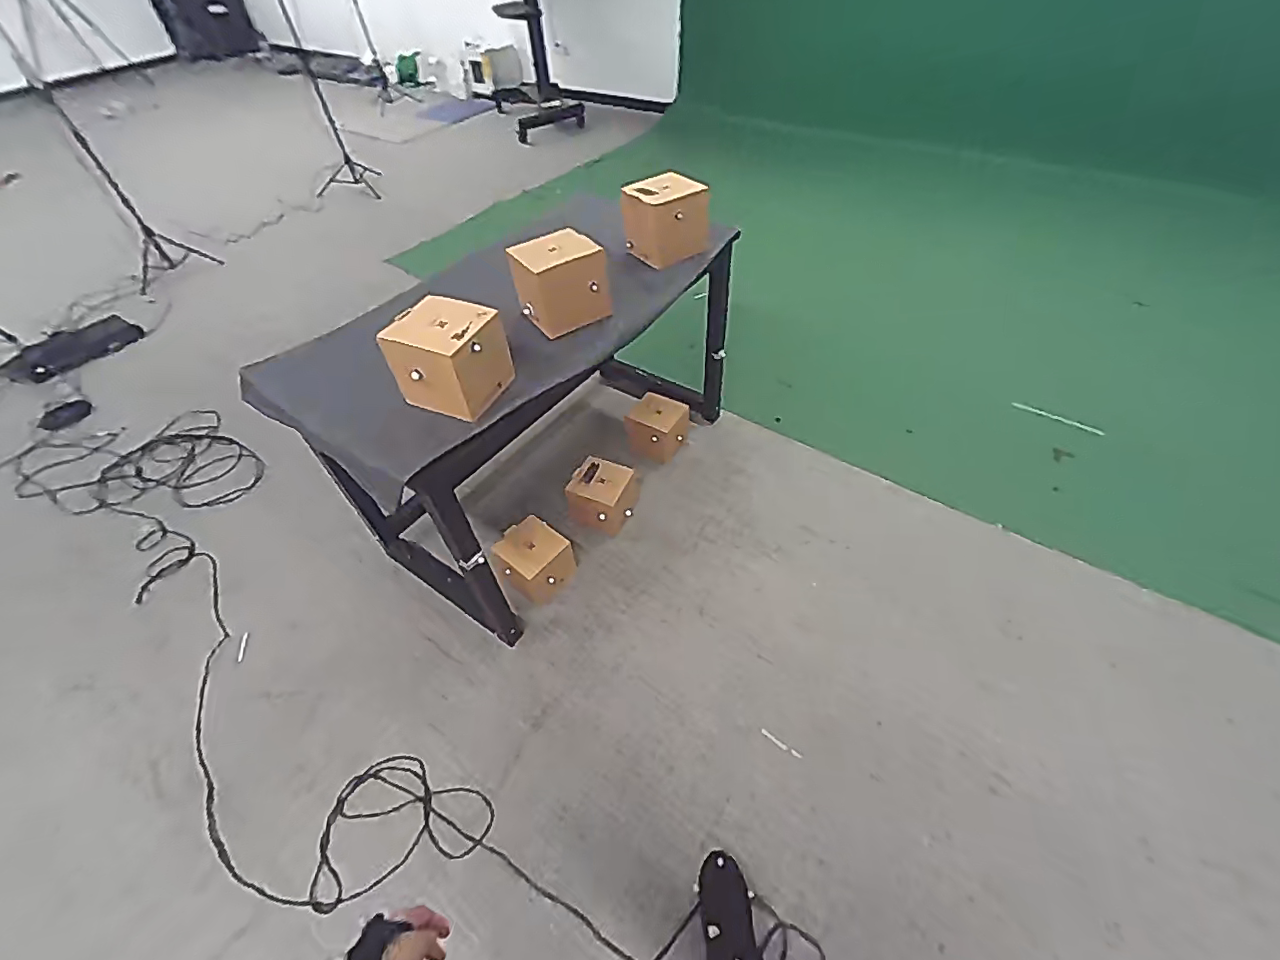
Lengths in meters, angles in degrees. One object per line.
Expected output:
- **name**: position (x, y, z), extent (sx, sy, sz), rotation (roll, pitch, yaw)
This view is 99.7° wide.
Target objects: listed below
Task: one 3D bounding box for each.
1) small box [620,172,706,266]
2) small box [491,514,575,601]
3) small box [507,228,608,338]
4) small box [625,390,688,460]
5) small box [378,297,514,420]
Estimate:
- **small box**: position (0.068, -0.709, 1.473), extent (0.179, 0.176, 0.168), rotation (-29, 51, -18)
- **small box**: position (-0.317, 0.243, 1.648), extent (0.179, 0.176, 0.168), rotation (31, 58, 27)
- **small box**: position (-0.188, -0.469, 1.289), extent (0.179, 0.176, 0.168), rotation (-30, 50, -19)
- **small box**: position (0.064, -0.198, 1.999), extent (0.179, 0.176, 0.168), rotation (23, 54, 22)
- **small box**: position (-0.386, -0.247, 1.108), extent (0.179, 0.176, 0.168), rotation (16, 52, 17)
